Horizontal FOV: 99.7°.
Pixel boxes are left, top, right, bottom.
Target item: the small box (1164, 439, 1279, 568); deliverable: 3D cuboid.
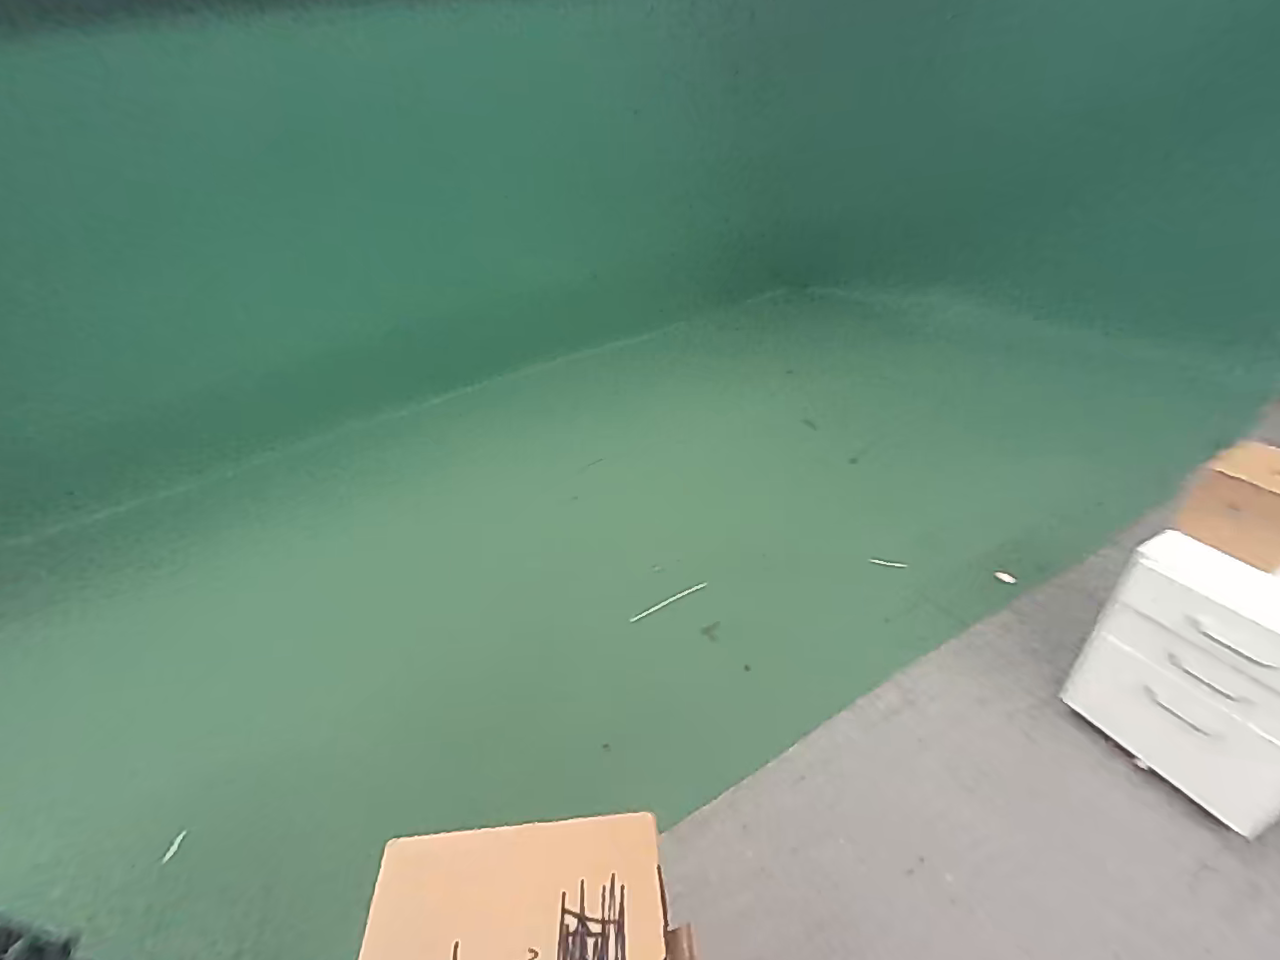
[{"bbox_3d":[1.243,0.047,1.103,0.168,0.176,0.179,-23,38,-17],"label":"small box"}]
